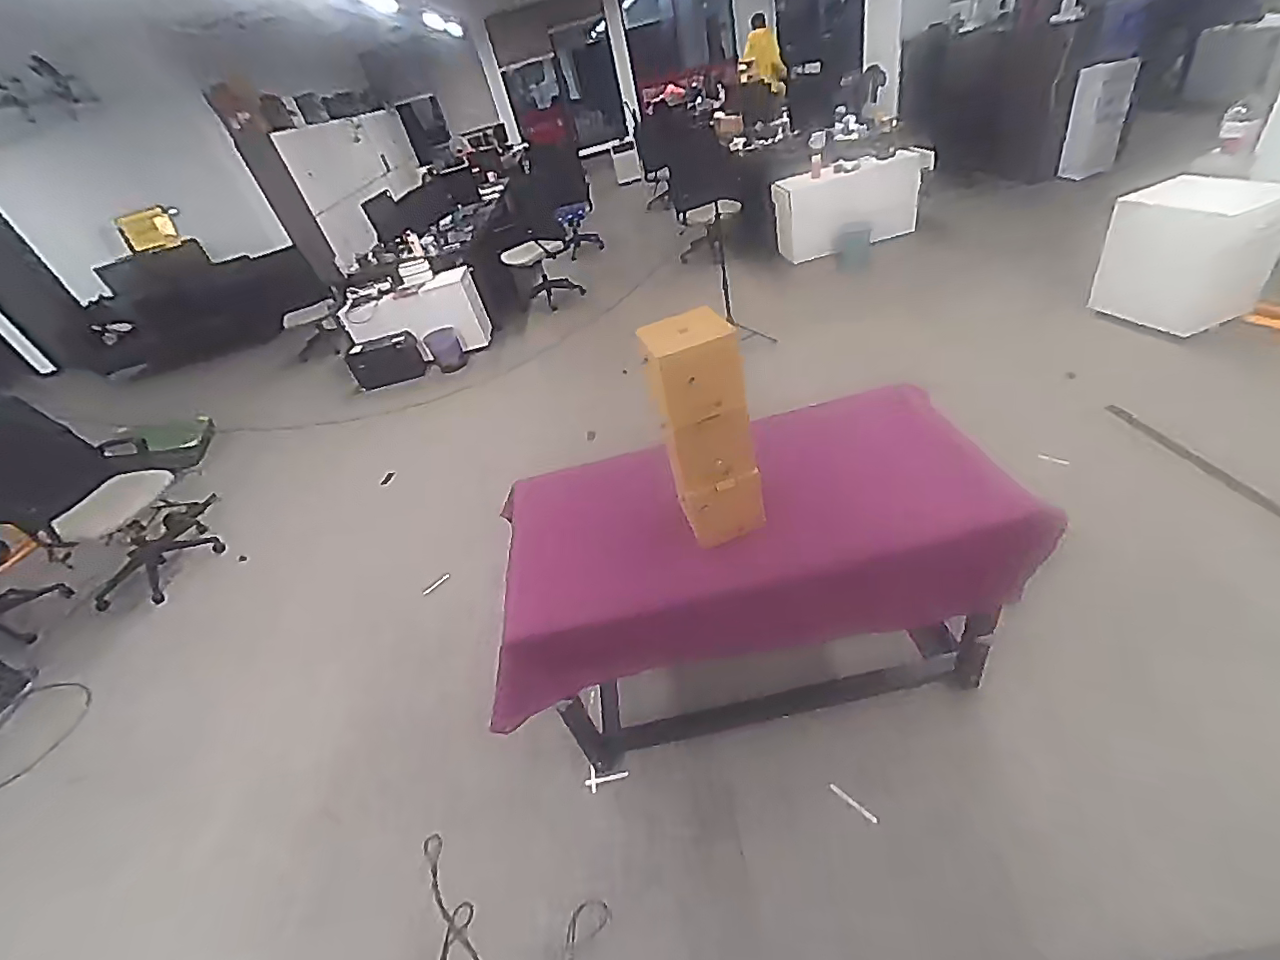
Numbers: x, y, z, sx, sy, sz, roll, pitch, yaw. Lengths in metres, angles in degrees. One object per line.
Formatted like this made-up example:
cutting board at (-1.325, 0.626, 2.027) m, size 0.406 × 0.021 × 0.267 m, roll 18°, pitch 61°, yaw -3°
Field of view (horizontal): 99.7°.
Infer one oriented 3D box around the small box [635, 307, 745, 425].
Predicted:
small box at (0.105, -0.232, 1.124) m, size 0.168 × 0.176 × 0.179 m, roll -20°, pitch 35°, yaw -4°

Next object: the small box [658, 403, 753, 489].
small box at (0.145, -0.109, 1.223) m, size 0.168 × 0.176 × 0.179 m, roll -19°, pitch 37°, yaw -2°
